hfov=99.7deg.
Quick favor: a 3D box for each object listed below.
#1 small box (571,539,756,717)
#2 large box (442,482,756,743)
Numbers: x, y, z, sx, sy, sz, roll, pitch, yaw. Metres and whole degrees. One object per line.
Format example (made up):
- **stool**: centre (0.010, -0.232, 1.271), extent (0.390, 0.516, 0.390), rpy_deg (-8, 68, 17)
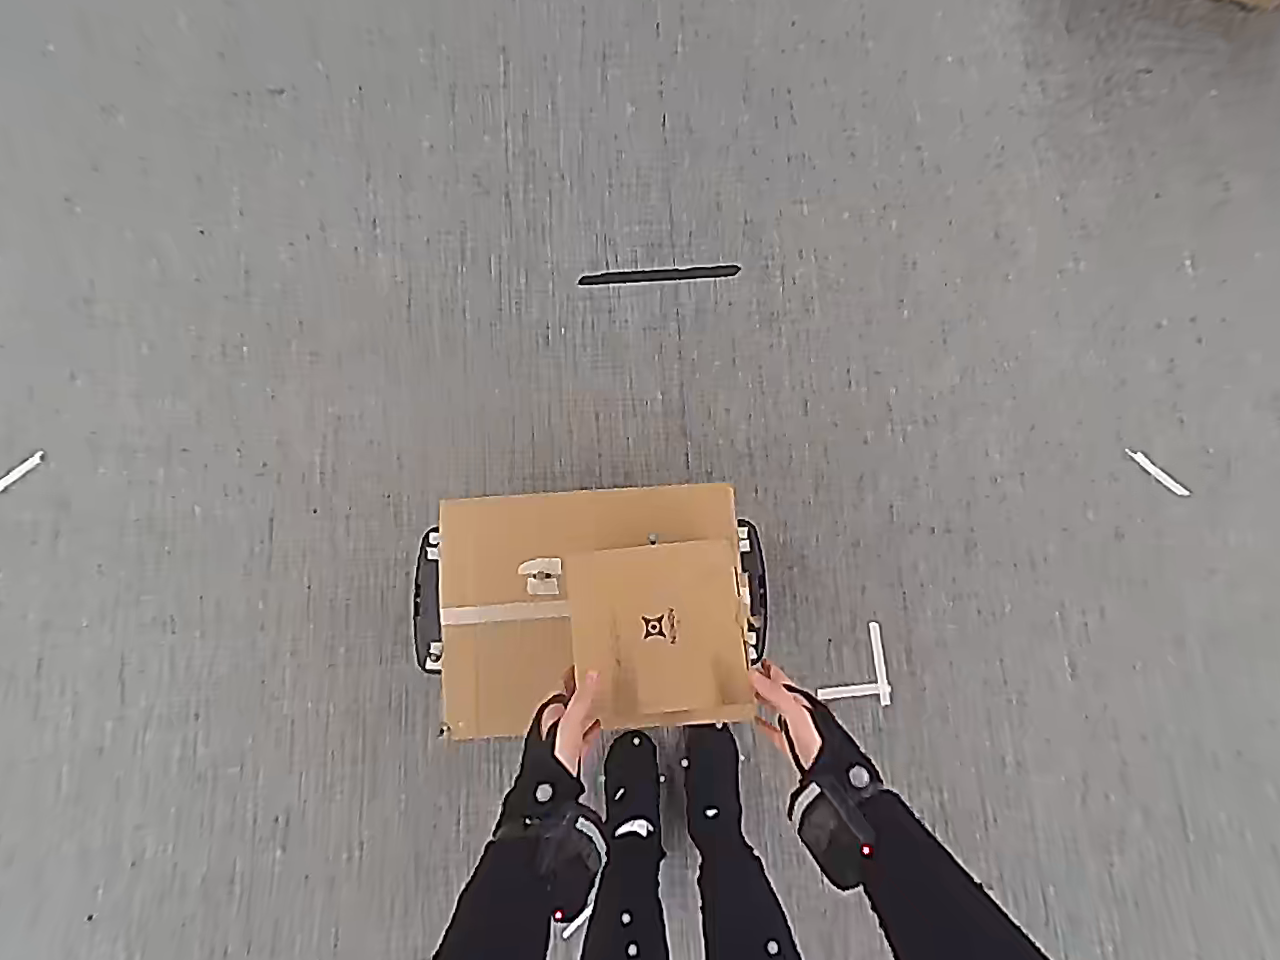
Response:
- **small box**: centre (0.022, 0.156, 0.616), extent (0.179, 0.176, 0.168), rpy_deg (-5, 81, 0)
- **large box**: centre (-0.056, 0.192, 0.859), extent (0.408, 0.320, 0.320), rpy_deg (-4, 80, 0)
